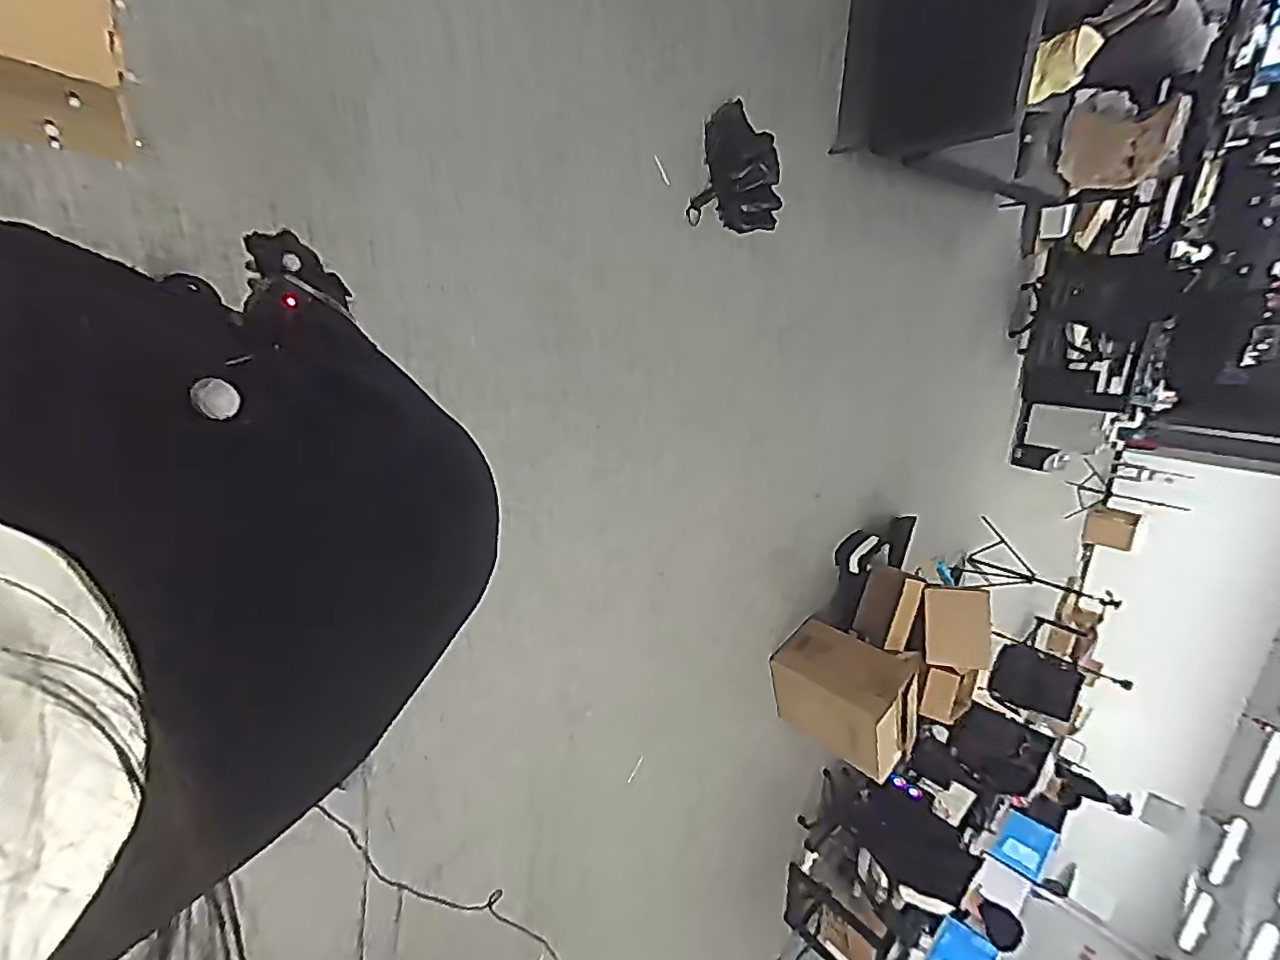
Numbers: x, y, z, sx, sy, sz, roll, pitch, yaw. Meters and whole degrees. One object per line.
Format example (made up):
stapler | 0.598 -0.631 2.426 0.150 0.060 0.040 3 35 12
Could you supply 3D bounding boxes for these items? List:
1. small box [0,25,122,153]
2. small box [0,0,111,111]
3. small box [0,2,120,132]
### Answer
small box | -0.941 -0.634 0.847 0.179 0.176 0.168 -7 108 -40
small box | -0.730 -0.550 0.613 0.179 0.176 0.168 -7 108 -40
small box | -0.837 -0.593 0.731 0.179 0.176 0.168 -10 112 -39
